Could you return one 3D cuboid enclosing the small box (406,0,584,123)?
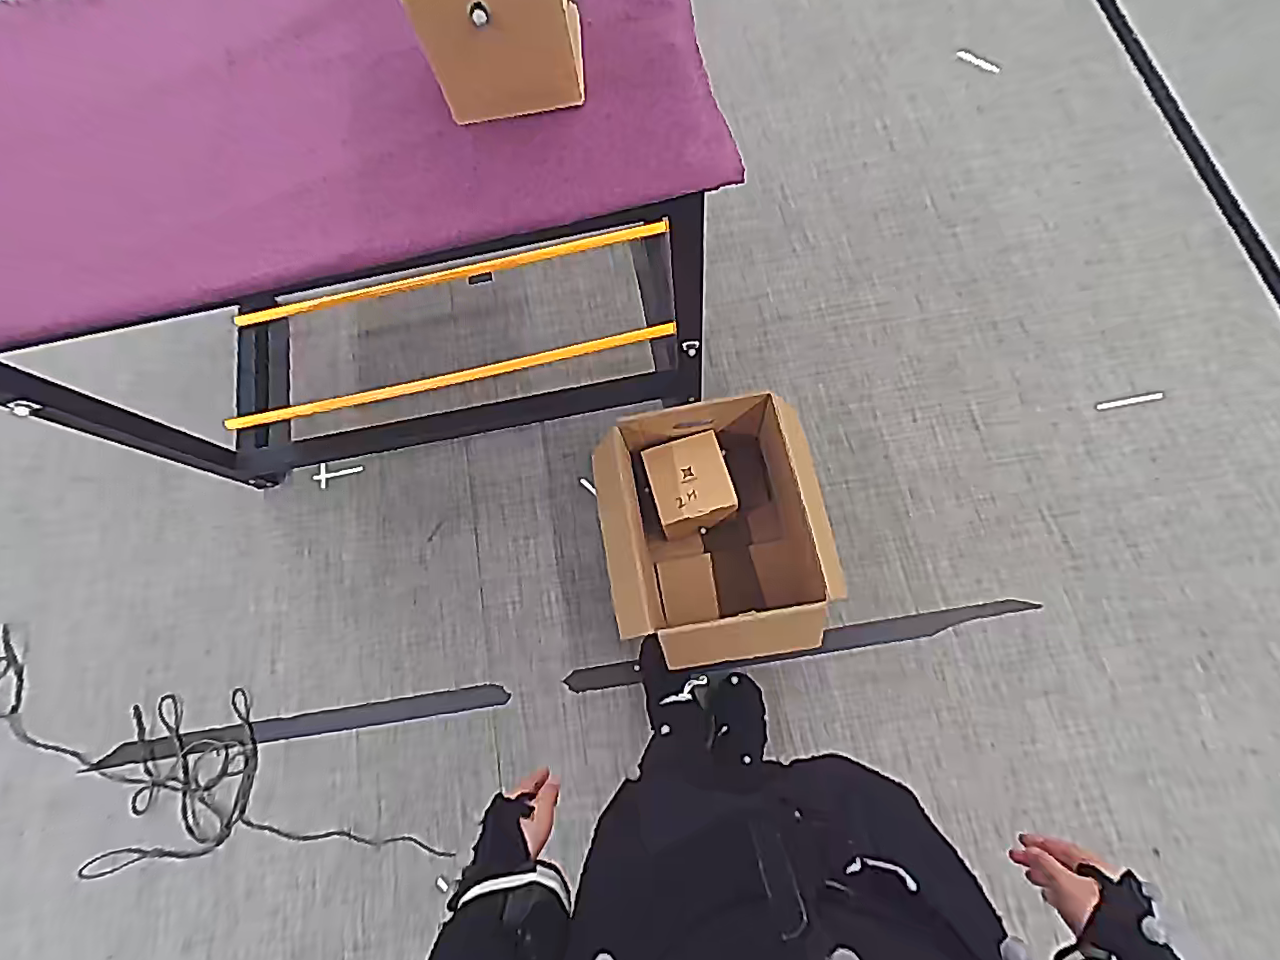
[{"bbox_3d":[-0.168,-0.585,0.668,0.179,0.176,0.168,-6,73,5],"label":"small box"}]
